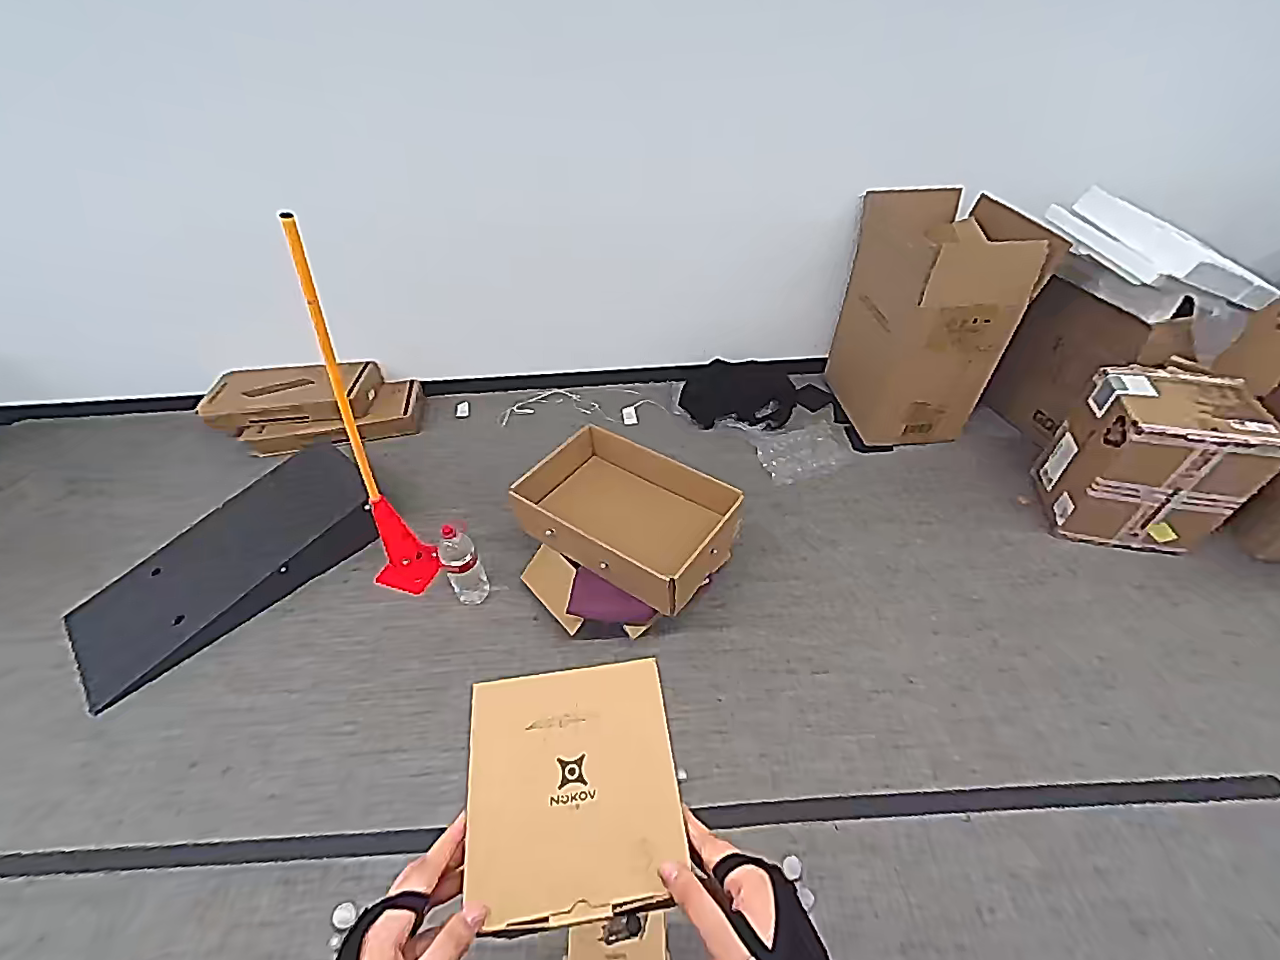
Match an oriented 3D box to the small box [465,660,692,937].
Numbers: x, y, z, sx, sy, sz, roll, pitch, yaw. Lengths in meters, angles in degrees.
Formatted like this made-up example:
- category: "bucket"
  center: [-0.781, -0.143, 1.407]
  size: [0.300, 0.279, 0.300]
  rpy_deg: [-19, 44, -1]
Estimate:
- category: "small box"
  center: [-0.053, 0.290, 0.493]
  size: [0.168, 0.176, 0.179]
  rpy_deg: [-6, 49, -7]
